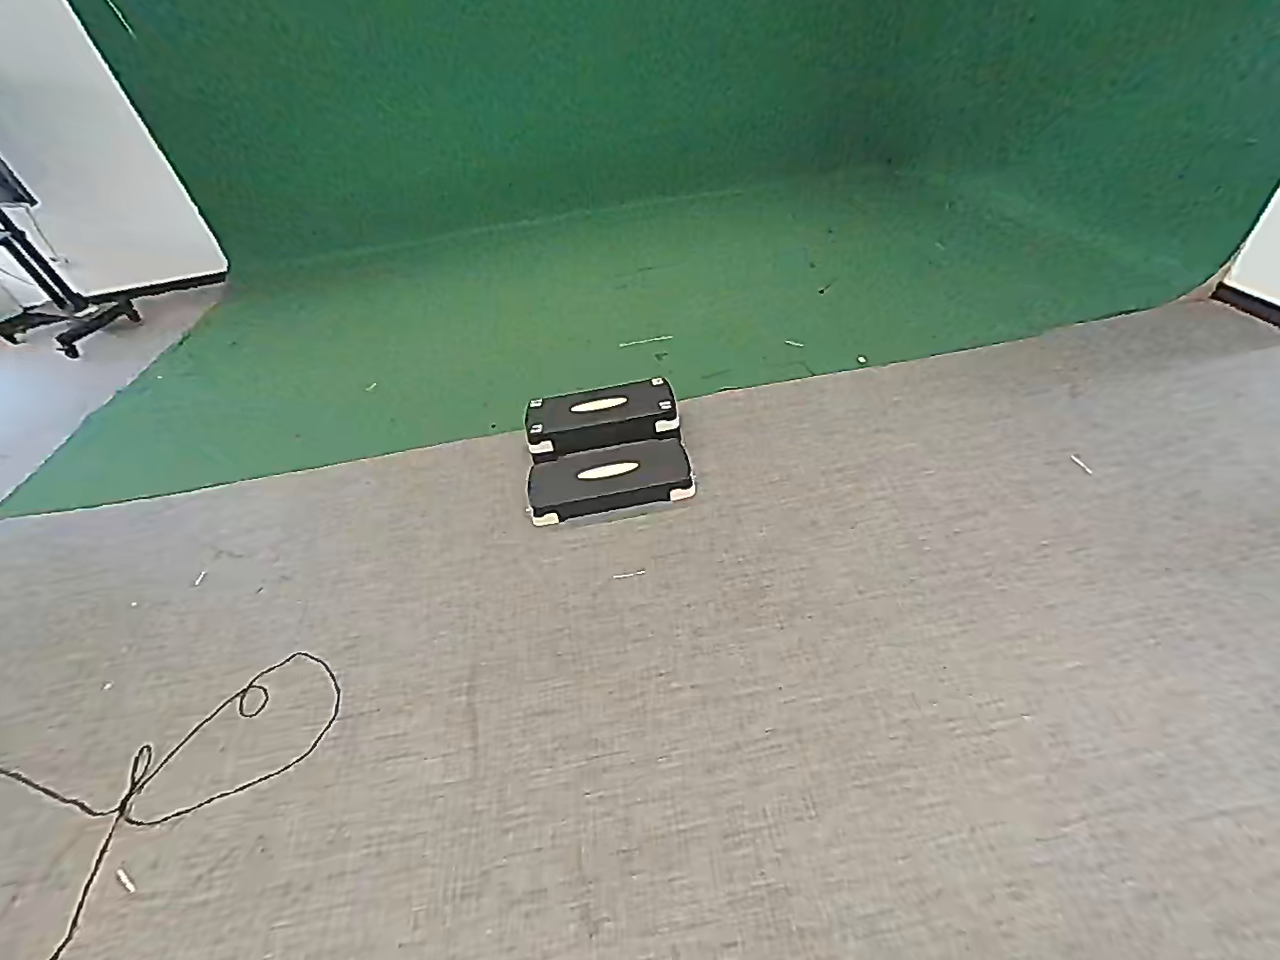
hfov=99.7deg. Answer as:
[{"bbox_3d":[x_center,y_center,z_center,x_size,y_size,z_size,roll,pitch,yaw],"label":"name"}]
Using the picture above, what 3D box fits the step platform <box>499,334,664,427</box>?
[{"bbox_3d":[-0.239,-0.428,2.317,0.684,0.204,0.286,-11,43,-1],"label":"step platform"}]
